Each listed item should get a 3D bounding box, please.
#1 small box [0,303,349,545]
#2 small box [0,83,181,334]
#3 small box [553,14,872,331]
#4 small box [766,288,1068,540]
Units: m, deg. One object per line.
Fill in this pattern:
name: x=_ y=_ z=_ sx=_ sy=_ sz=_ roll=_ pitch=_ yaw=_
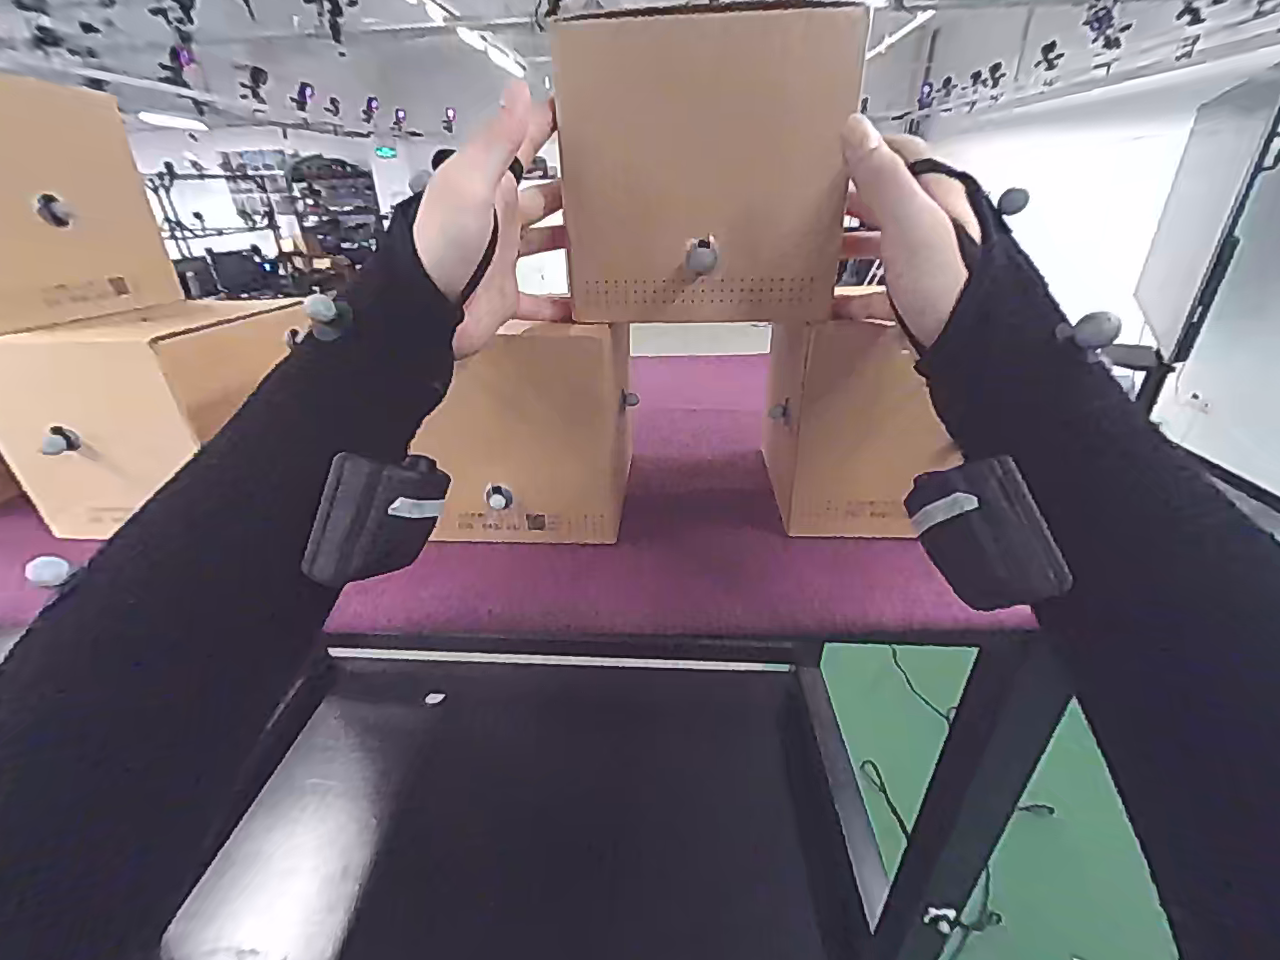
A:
small box: x=-0.394 y=-0.054 z=0.482 sx=0.168 sy=0.176 sz=0.179 roll=0 pitch=26 yaw=5
small box: x=-0.527 y=-0.209 z=0.426 sx=0.179 sy=0.176 sz=0.168 roll=2 pitch=26 yaw=5
small box: x=0.045 y=-0.210 z=0.399 sx=0.179 sy=0.176 sz=0.168 roll=1 pitch=27 yaw=4
small box: x=0.203 y=-0.062 z=0.459 sx=0.168 sy=0.176 sz=0.179 roll=2 pitch=26 yaw=5
